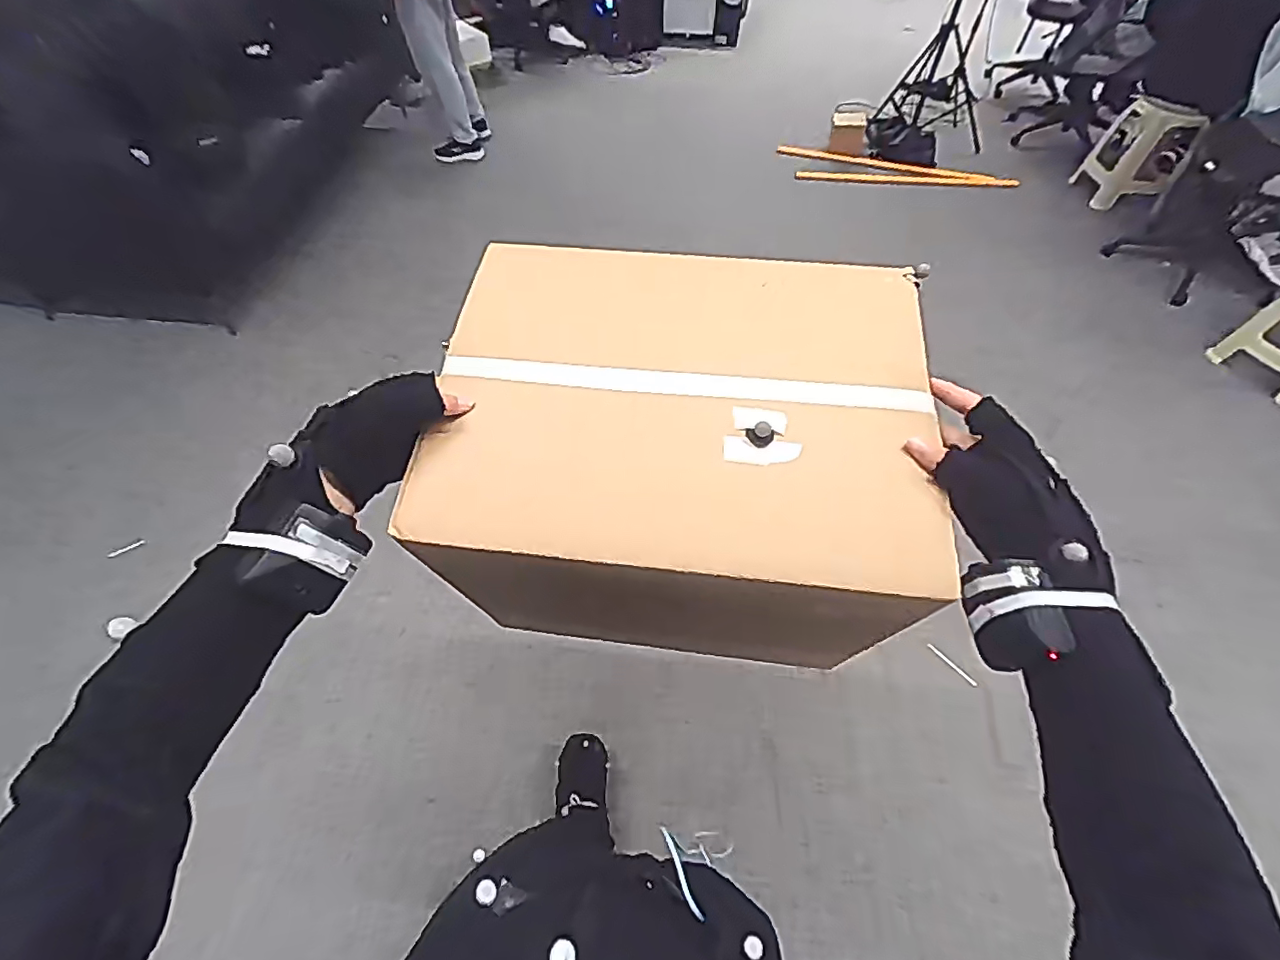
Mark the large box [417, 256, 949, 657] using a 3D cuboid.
[{"bbox_3d":[0.042,-0.007,0.596,0.408,0.320,0.320,6,63,4],"label":"large box"}]
